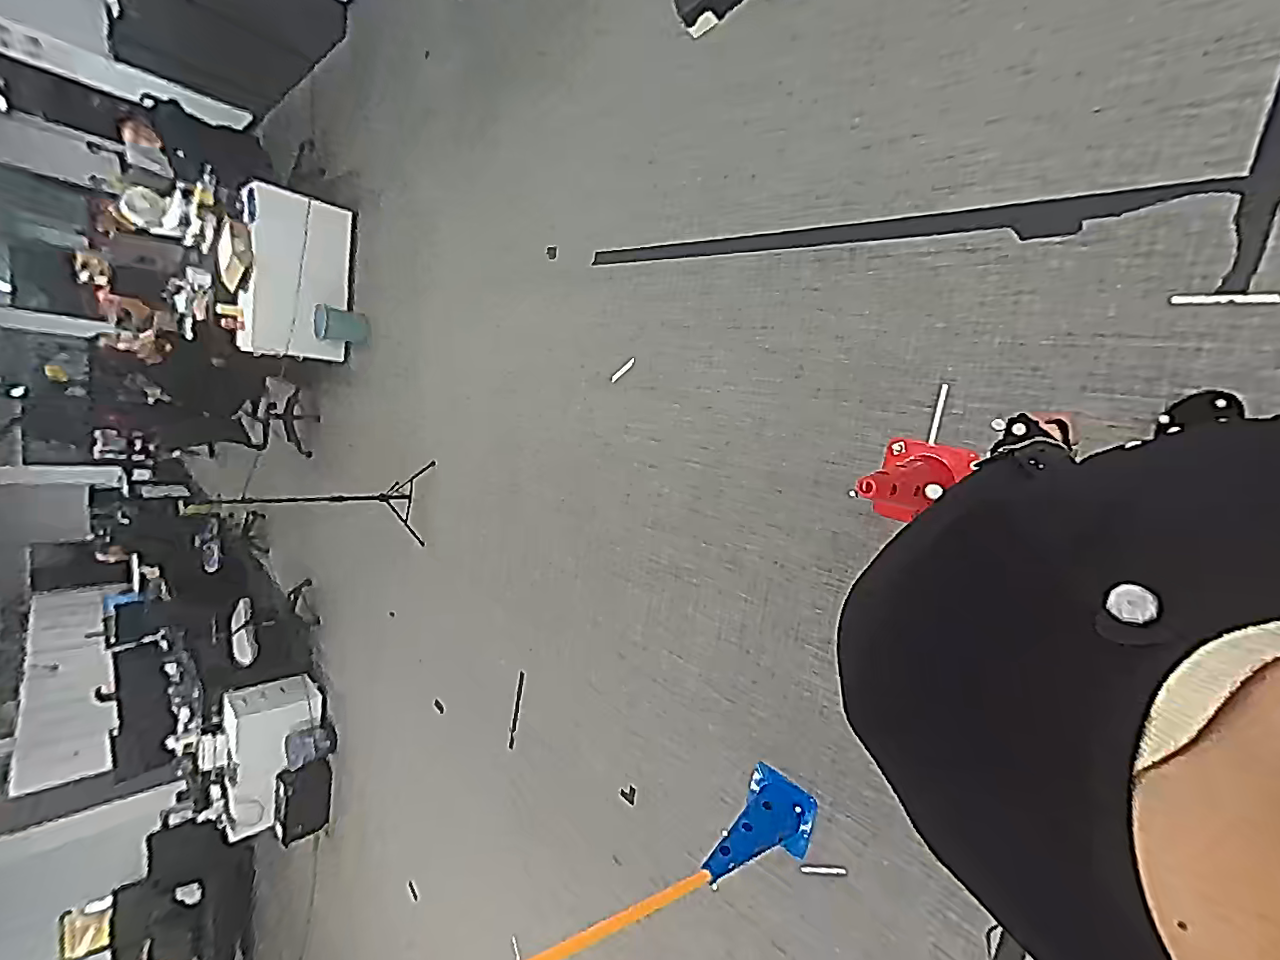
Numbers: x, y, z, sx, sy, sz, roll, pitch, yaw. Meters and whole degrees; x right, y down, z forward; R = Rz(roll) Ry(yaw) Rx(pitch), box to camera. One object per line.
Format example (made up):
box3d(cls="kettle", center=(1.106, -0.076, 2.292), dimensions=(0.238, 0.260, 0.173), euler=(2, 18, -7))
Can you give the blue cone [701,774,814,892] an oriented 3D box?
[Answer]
box3d(cls="blue cone", center=(0.292, 0.971, 1.444), dimensions=(0.193, 0.380, 0.192), euler=(21, 105, 42))
